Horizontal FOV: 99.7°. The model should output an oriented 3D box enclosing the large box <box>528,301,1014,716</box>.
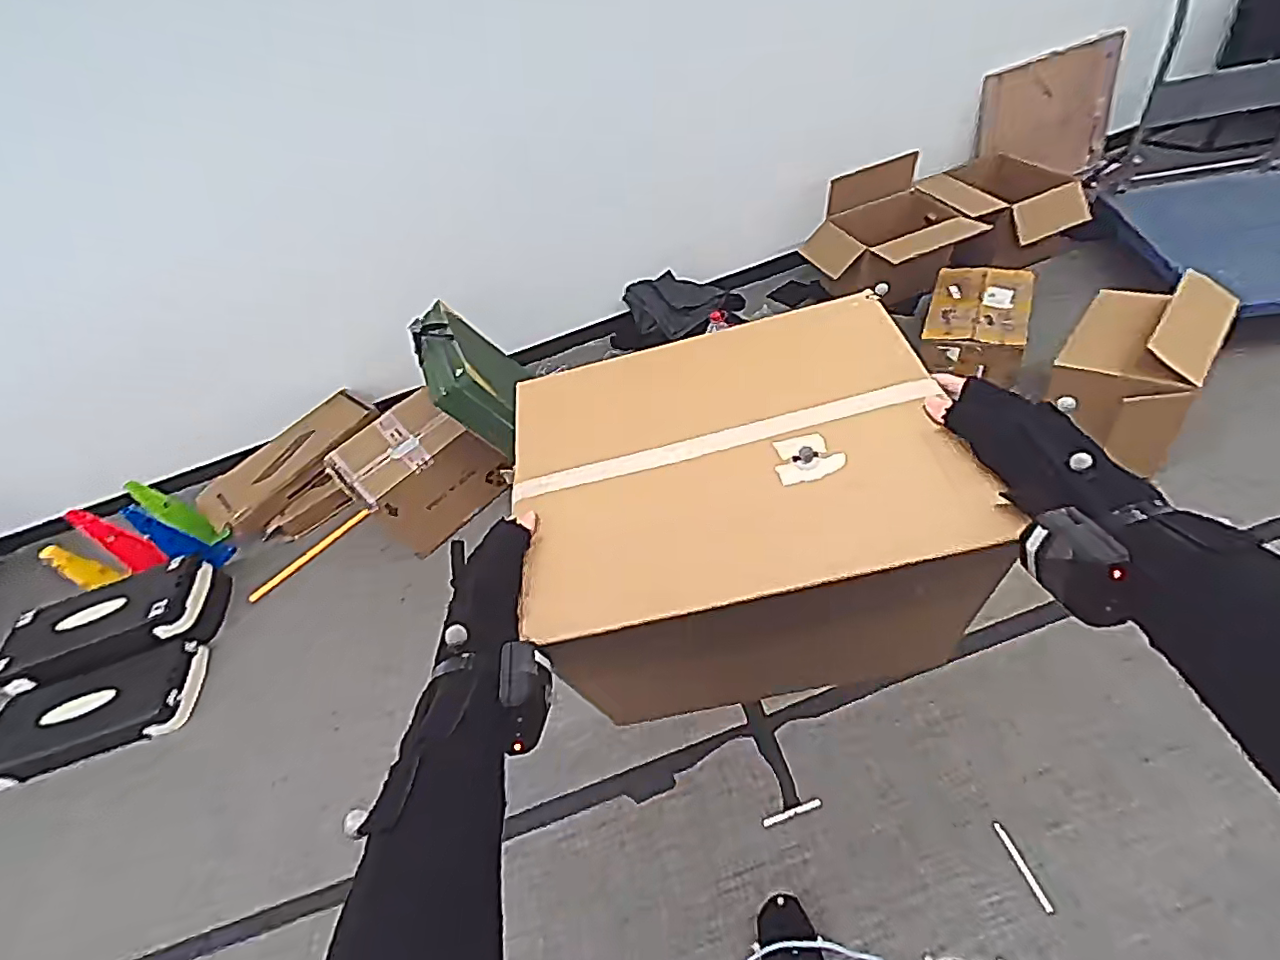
[{"bbox_3d":[0.111,0.051,0.644,0.408,0.320,0.320,-13,54,4],"label":"large box"}]
